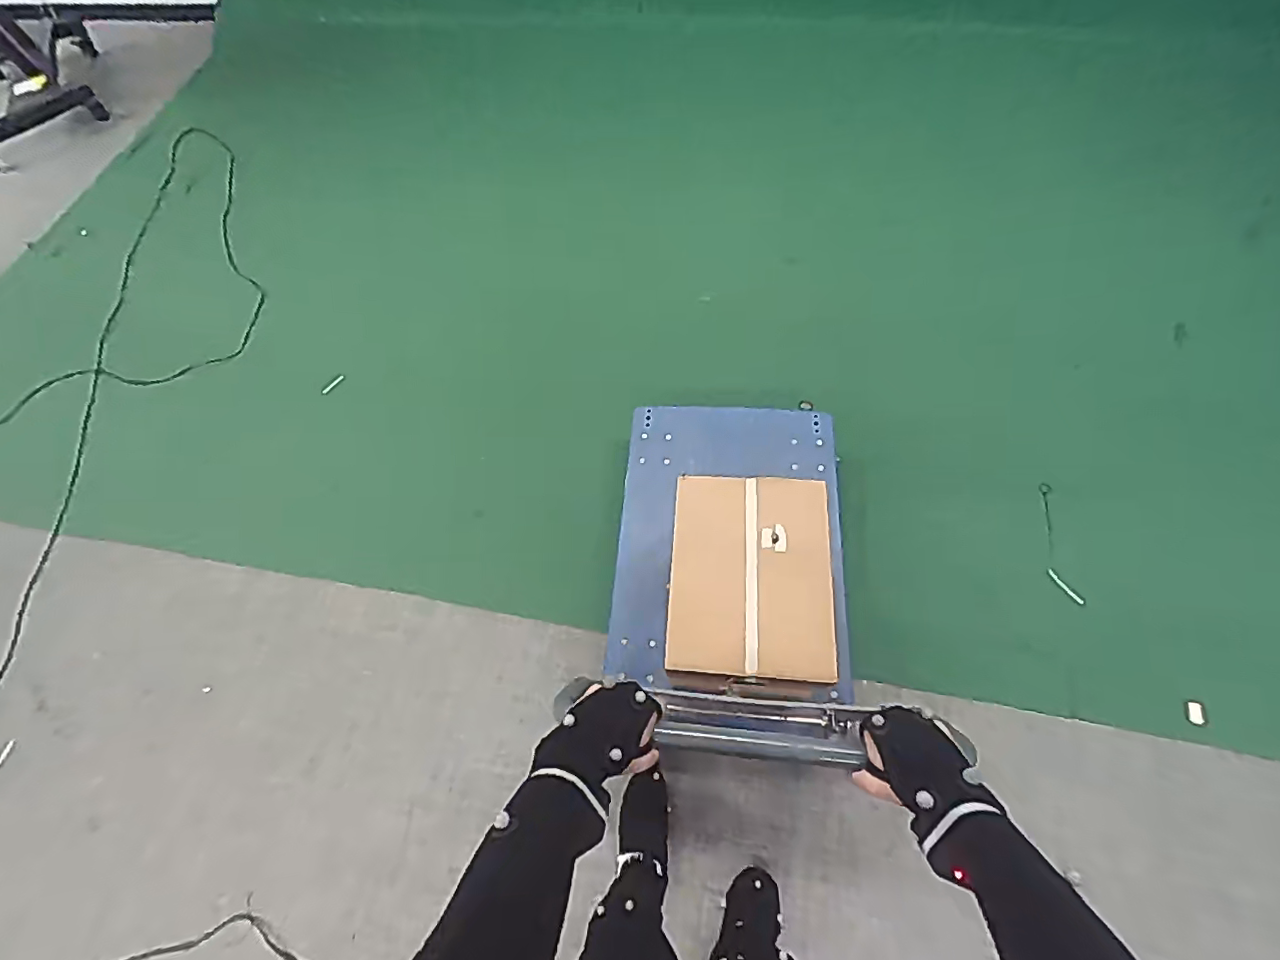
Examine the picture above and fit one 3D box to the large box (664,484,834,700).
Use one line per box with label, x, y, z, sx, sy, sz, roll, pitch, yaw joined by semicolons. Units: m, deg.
large box;0.224;0.258;1.206;0.320;0.320;0.408;2;63;6
